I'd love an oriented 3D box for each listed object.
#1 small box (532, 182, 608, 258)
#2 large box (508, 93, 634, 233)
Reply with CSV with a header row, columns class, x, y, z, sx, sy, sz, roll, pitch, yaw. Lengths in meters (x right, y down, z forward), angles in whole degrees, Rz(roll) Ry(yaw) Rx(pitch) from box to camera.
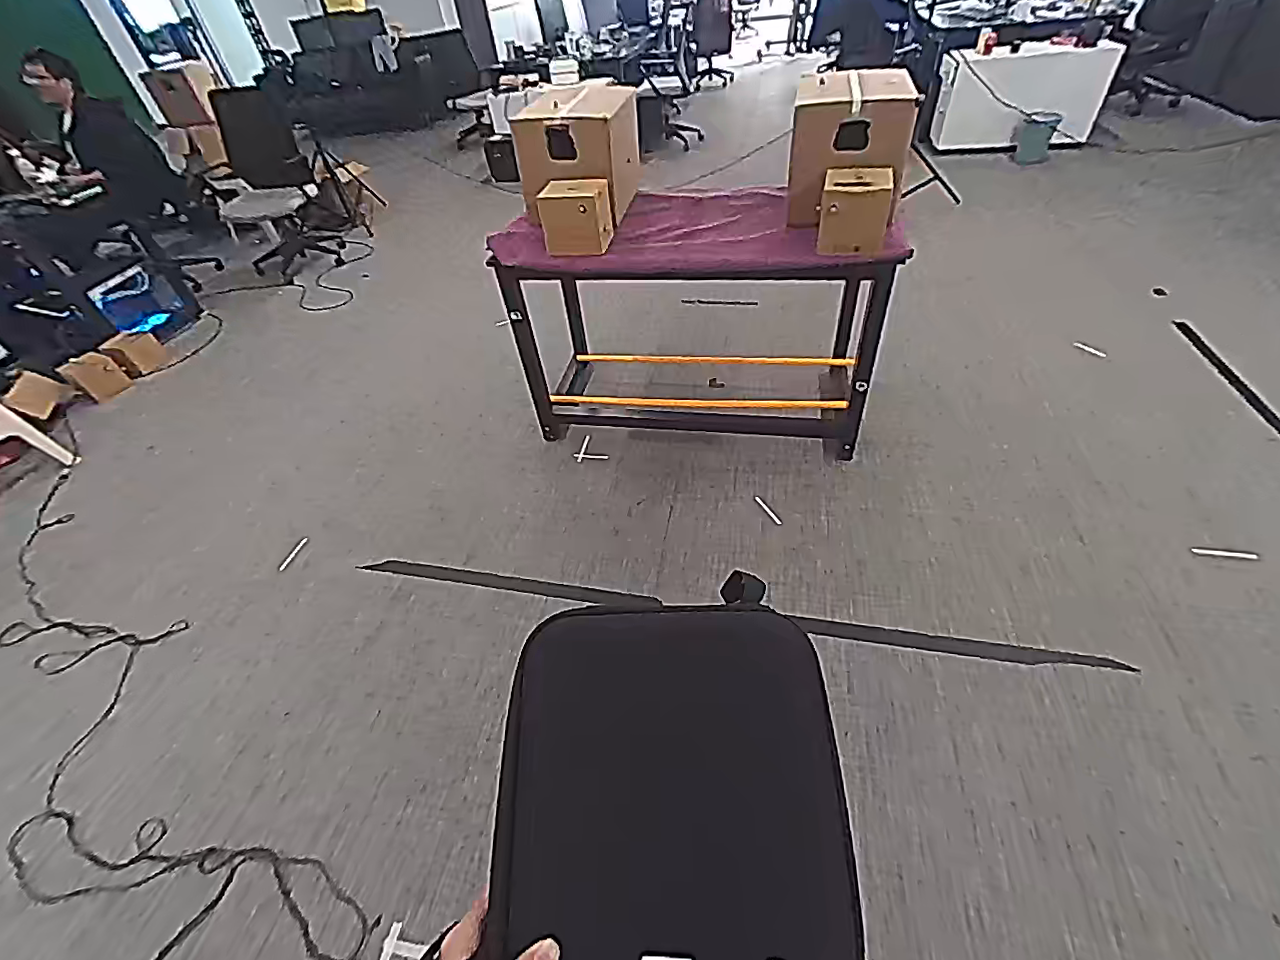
class,x,y,z,sx,sy,sz,roll,pitch,yaw
small box,-0.206,-0.783,1.635,0.179,0.176,0.168,3,44,9
large box,-0.208,-1.073,1.828,0.320,0.320,0.408,4,48,10
